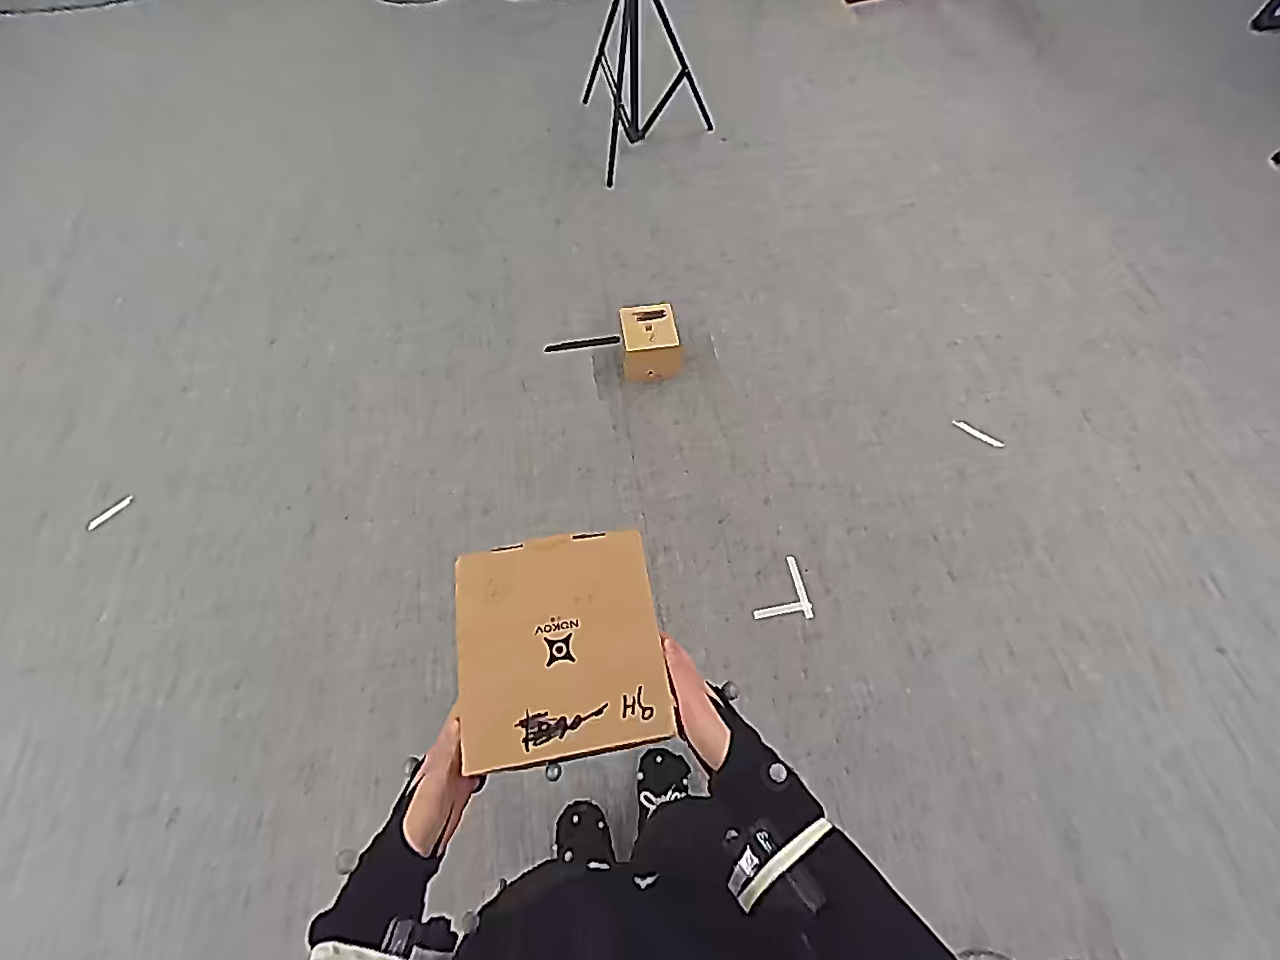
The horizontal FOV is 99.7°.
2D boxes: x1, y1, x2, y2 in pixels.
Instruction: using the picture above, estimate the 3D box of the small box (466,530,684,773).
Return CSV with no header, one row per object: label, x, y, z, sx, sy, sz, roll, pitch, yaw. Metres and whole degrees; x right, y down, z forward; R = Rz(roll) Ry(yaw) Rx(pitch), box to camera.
small box,-0.062,0.169,0.514,0.168,0.176,0.179,-9,63,-6
